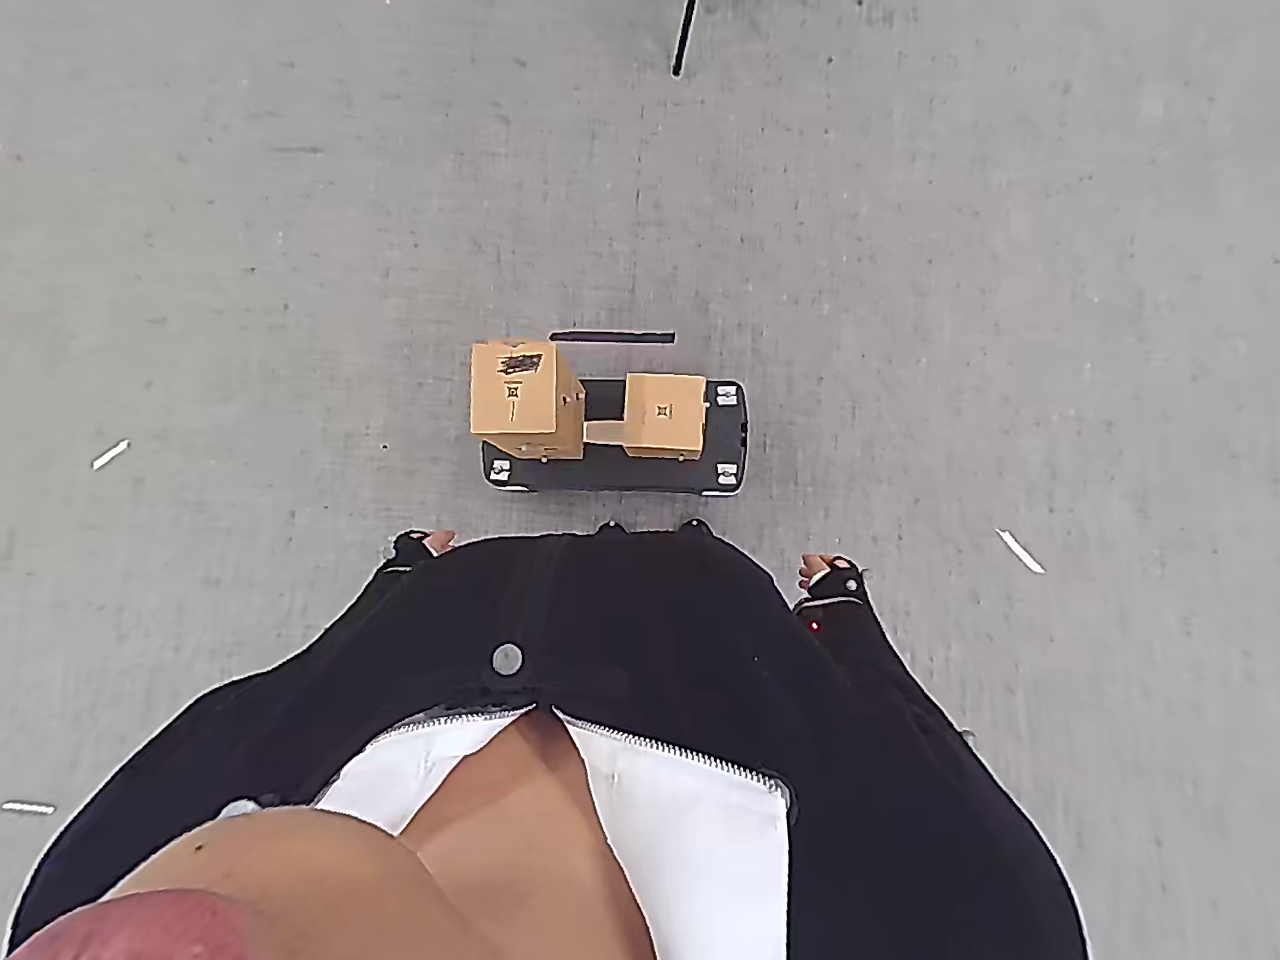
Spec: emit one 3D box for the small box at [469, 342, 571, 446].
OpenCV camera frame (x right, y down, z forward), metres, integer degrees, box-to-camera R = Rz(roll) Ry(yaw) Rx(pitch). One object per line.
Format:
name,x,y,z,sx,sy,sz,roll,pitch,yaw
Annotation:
small box,-0.237,-0.168,1.100,0.168,0.176,0.179,0,86,2

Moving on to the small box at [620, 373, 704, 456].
small box,0.054,-0.144,1.252,0.179,0.176,0.168,3,85,5

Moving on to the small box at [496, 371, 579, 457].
small box,-0.228,-0.149,1.263,0.168,0.176,0.179,1,85,3
